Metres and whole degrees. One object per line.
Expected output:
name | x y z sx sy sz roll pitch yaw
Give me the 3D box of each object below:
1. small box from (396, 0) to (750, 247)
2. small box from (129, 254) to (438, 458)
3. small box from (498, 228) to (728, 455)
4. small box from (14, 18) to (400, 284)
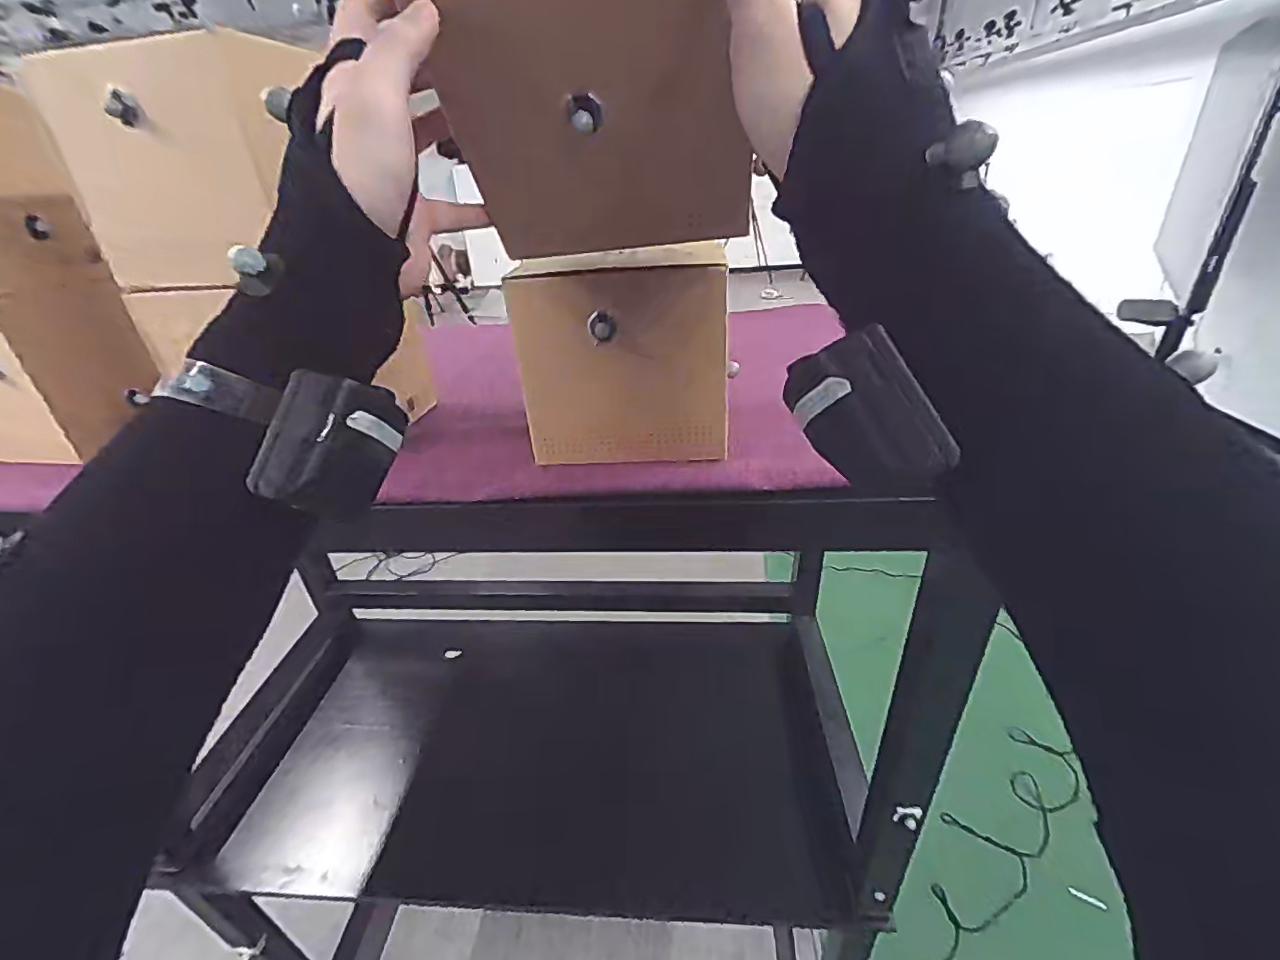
small box | -0.022 -0.279 0.347 0.179 0.176 0.168 -3 61 10
small box | -0.343 -0.130 0.560 0.179 0.176 0.168 0 30 10
small box | -0.010 -0.131 0.510 0.179 0.176 0.168 -2 31 7
small box | -0.352 -0.273 0.480 0.179 0.176 0.168 2 30 10
